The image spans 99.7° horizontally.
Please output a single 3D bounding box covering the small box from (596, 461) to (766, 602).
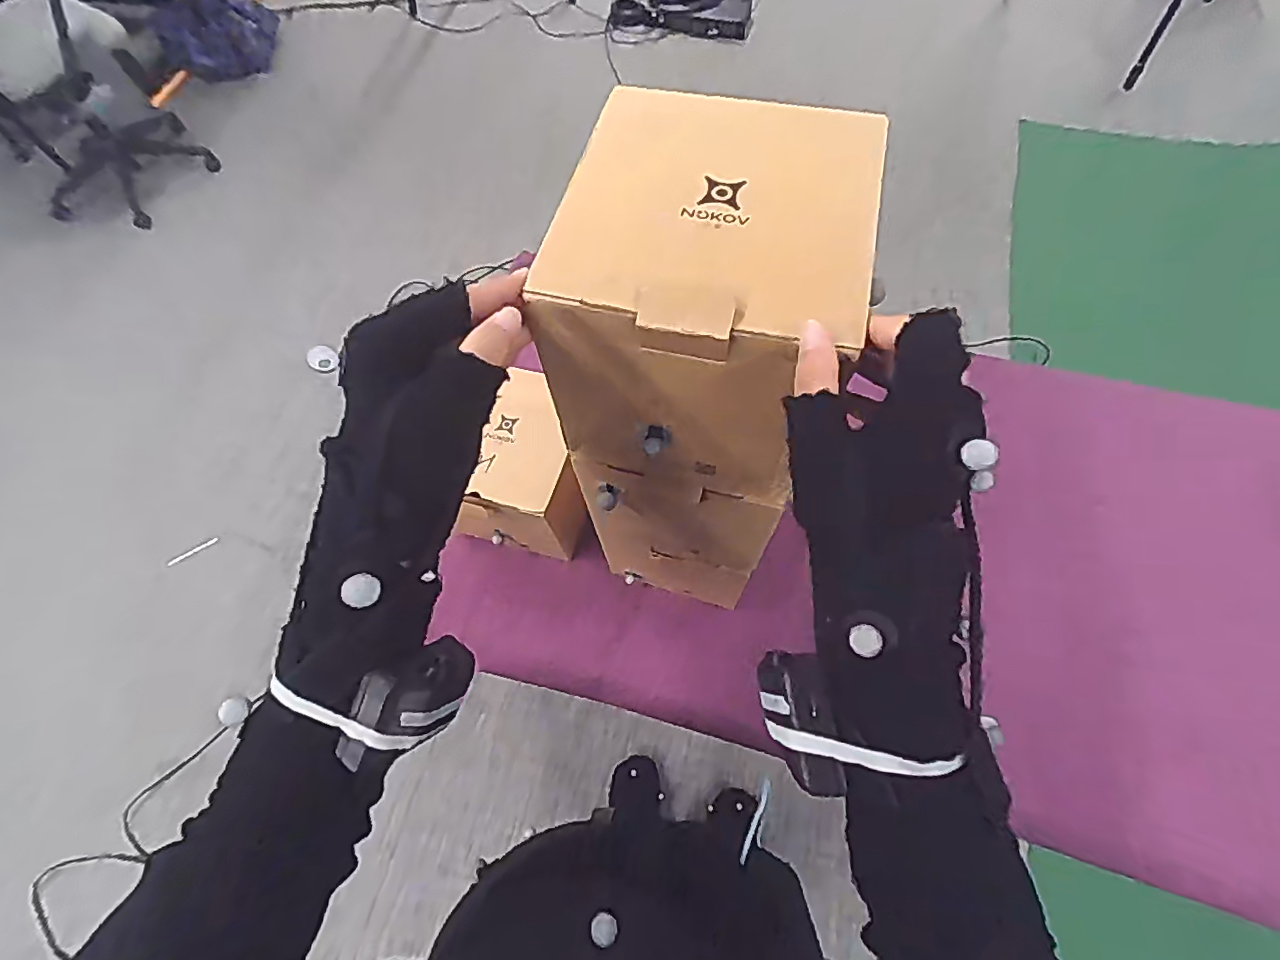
[{"bbox_3d":[0.061,0.033,0.660,0.168,0.176,0.179,15,66,10],"label":"small box"}]

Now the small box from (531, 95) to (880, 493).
[{"bbox_3d":[0.045,-0.115,0.368,0.168,0.176,0.179,12,66,8],"label":"small box"}]

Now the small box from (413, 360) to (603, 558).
[{"bbox_3d":[-0.151,-0.021,0.695,0.168,0.176,0.179,14,66,10],"label":"small box"}]
